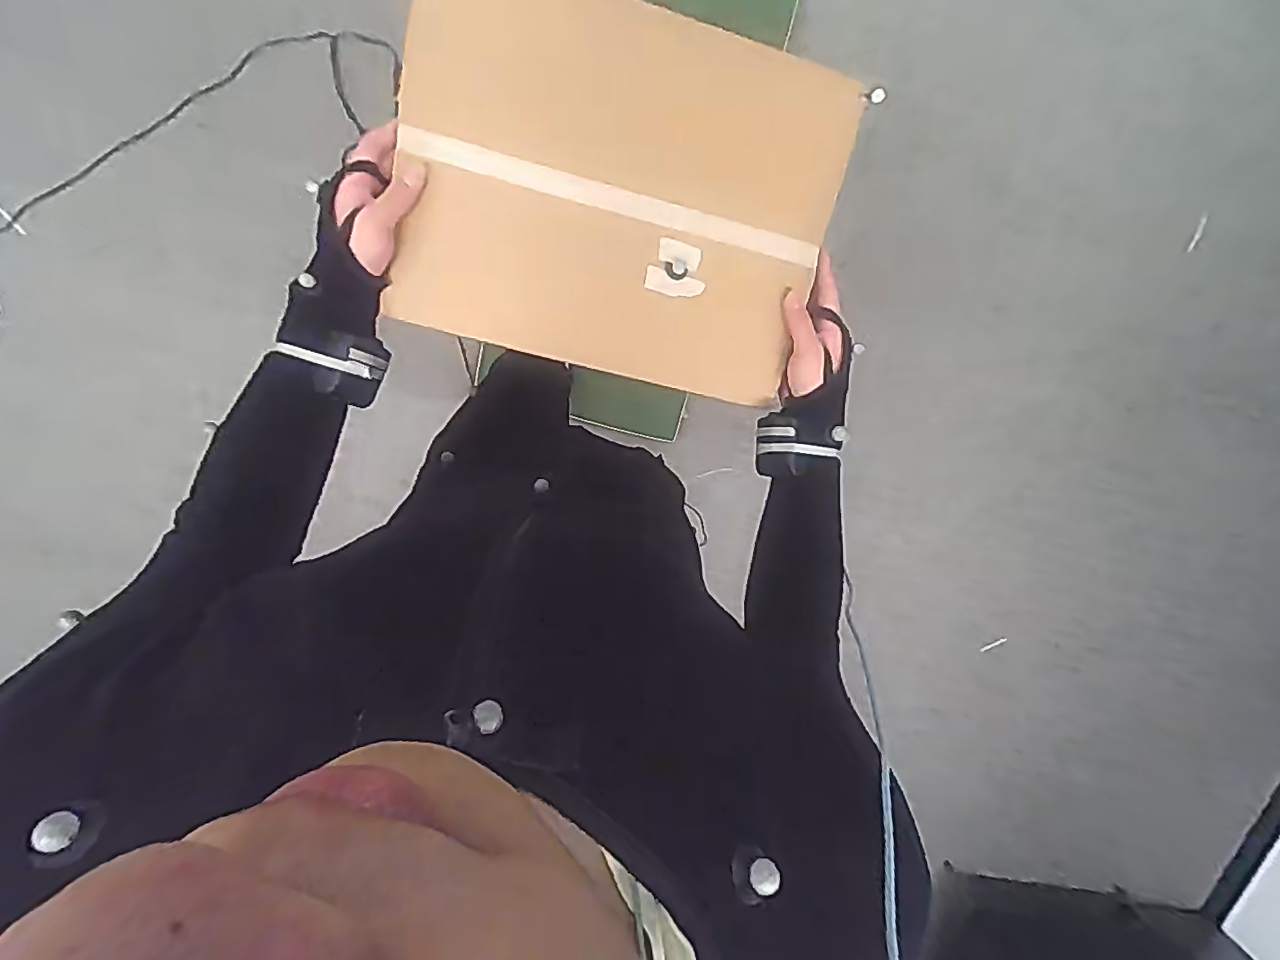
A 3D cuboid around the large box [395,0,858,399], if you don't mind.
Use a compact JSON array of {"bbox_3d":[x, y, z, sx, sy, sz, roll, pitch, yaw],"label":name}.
[{"bbox_3d":[-0.033,-0.309,0.663,0.408,0.320,0.320,12,106,-9],"label":"large box"}]
